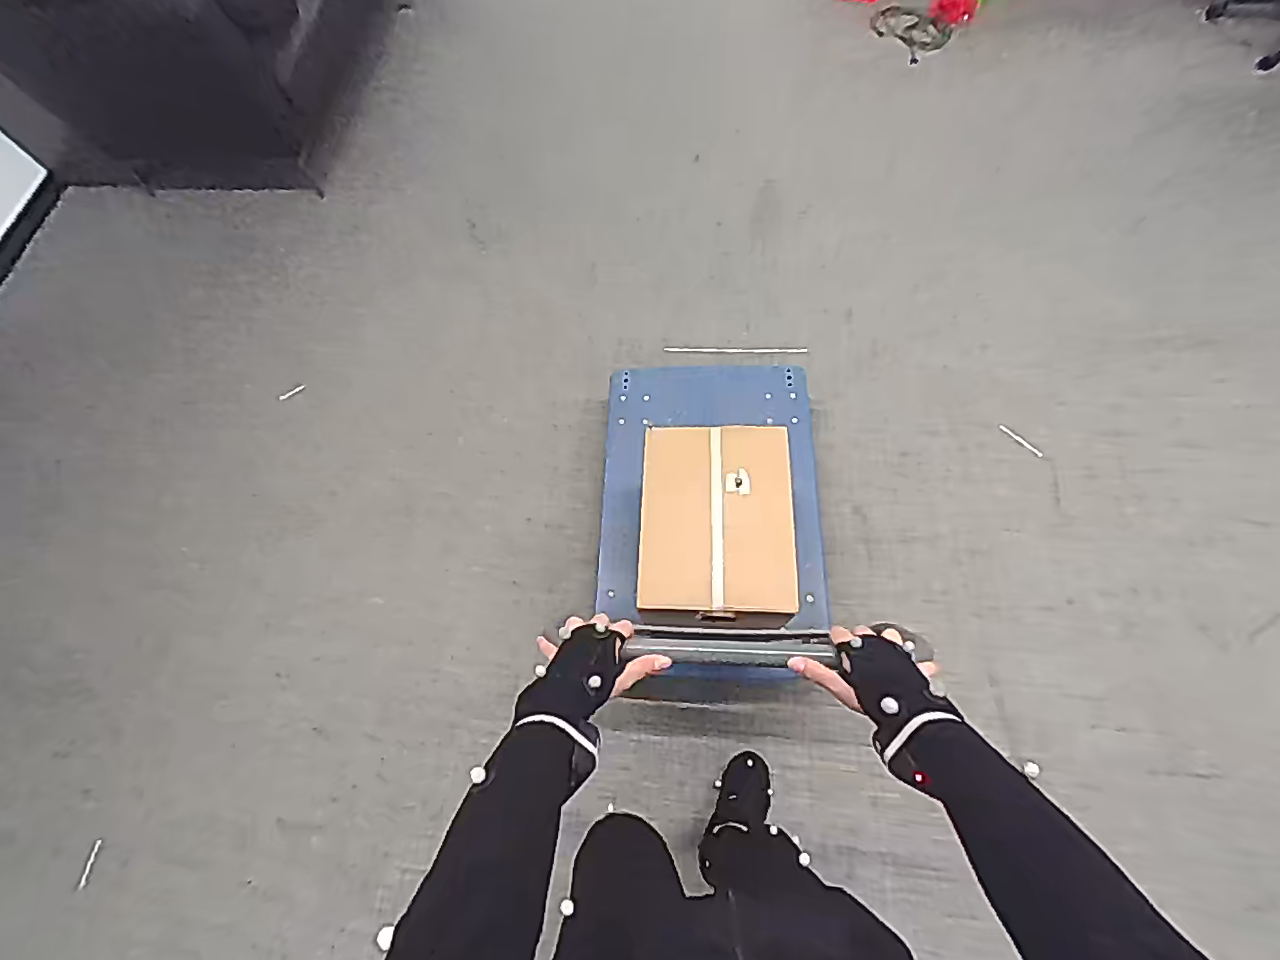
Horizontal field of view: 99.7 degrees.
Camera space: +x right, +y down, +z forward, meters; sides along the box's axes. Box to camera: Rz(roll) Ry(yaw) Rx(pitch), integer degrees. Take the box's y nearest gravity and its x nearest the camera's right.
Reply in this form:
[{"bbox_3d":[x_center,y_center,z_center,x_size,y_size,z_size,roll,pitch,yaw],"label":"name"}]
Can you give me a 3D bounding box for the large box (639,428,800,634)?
[{"bbox_3d":[0.172,0.131,1.252,0.320,0.320,0.408,0,66,5],"label":"large box"}]
